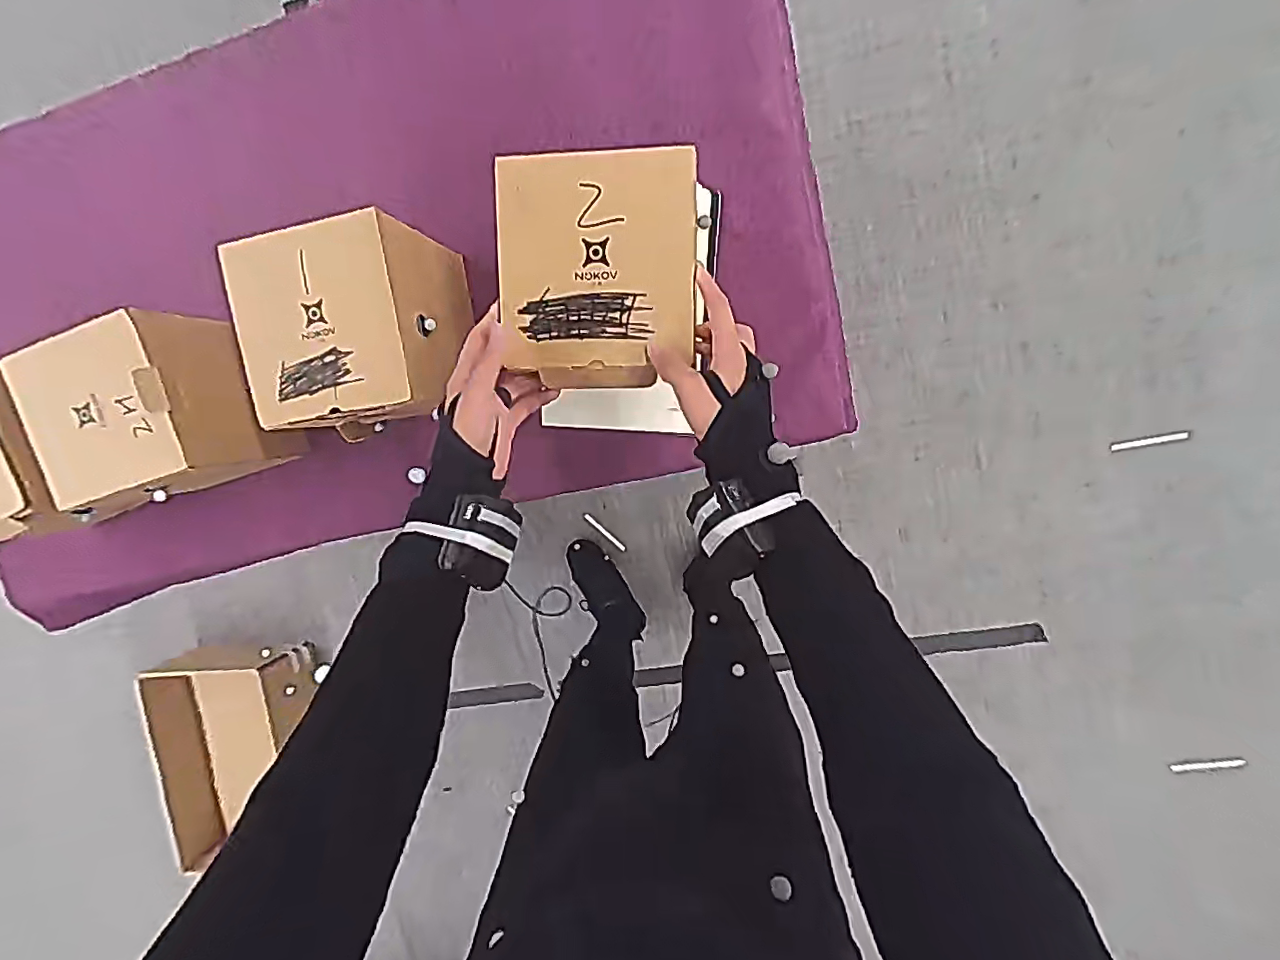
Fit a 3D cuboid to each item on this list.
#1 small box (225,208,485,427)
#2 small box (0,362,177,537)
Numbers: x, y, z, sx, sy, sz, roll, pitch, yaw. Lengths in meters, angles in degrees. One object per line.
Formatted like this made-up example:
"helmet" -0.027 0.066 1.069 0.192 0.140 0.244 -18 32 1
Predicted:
"small box" -0.284 -0.157 0.578 0.168 0.176 0.179 -8 96 10
"small box" -0.734 -0.038 0.665 0.168 0.176 0.179 -19 94 10
